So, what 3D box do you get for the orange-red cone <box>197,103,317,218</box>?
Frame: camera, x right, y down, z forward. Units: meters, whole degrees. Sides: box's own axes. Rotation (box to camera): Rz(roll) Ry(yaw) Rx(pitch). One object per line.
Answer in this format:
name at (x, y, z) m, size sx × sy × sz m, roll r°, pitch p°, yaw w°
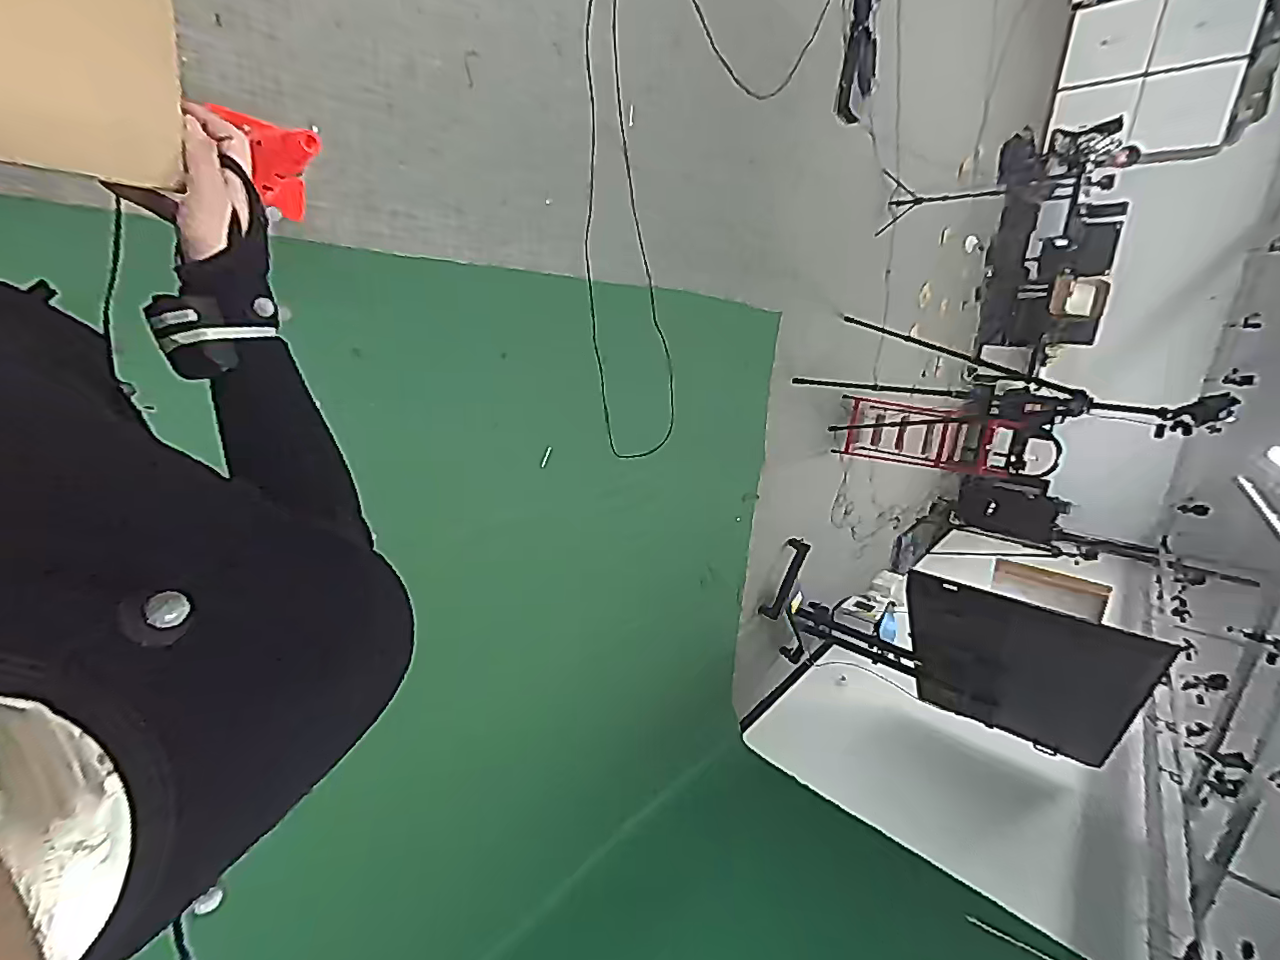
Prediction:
orange-red cone at (-0.784, -0.704, 1.168) m, size 0.199 × 0.360 × 0.198 m, roll -4°, pitch 107°, yaw -51°
